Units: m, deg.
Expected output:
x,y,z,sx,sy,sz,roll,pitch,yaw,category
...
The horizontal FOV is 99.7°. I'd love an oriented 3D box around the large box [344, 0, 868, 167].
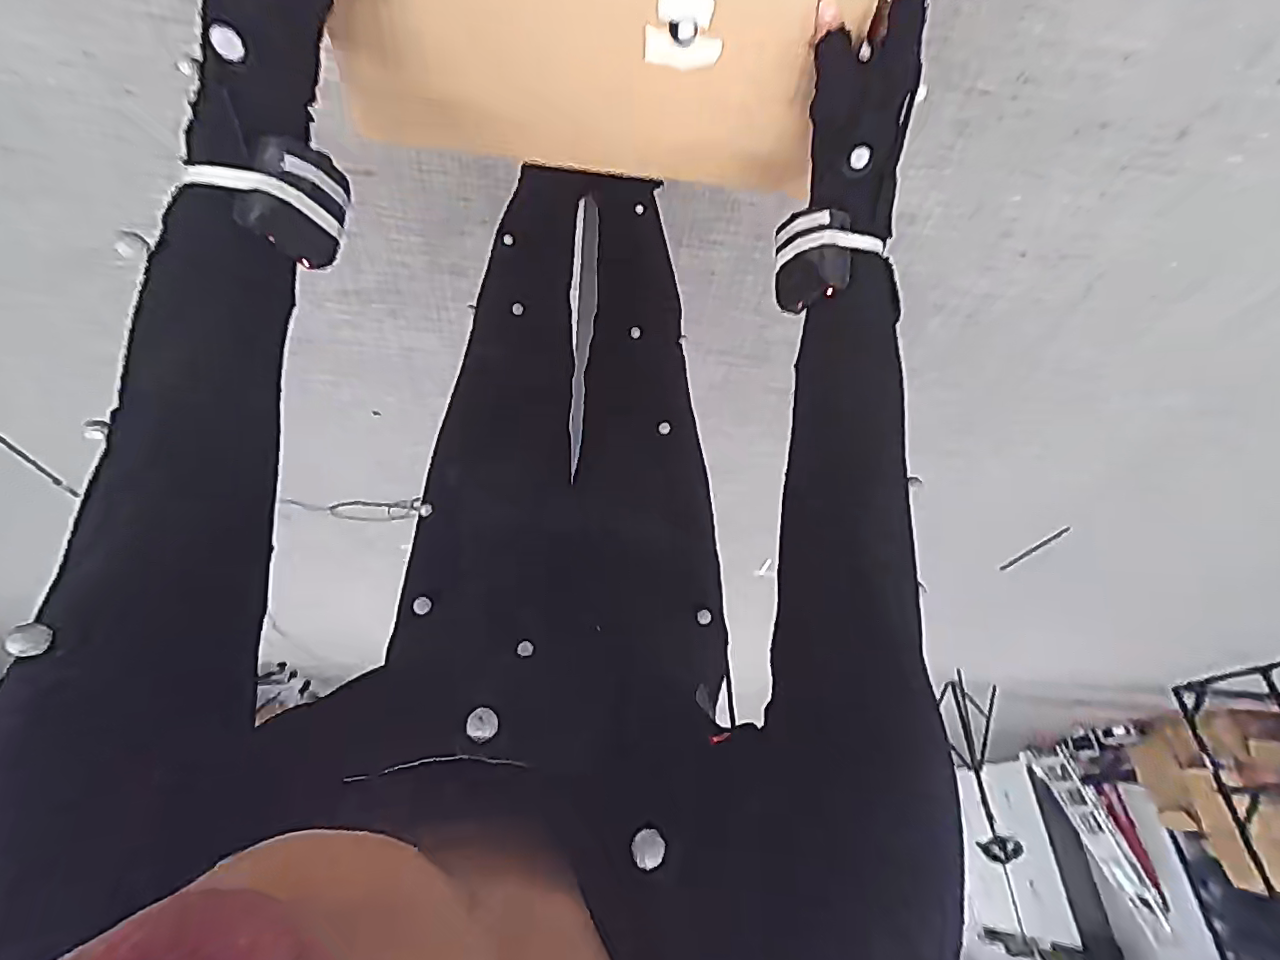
x,y,z,sx,sy,sz,roll,pitch,yaw,category
-0.022,-0.511,0.457,0.408,0.320,0.320,4,145,-4,large box
